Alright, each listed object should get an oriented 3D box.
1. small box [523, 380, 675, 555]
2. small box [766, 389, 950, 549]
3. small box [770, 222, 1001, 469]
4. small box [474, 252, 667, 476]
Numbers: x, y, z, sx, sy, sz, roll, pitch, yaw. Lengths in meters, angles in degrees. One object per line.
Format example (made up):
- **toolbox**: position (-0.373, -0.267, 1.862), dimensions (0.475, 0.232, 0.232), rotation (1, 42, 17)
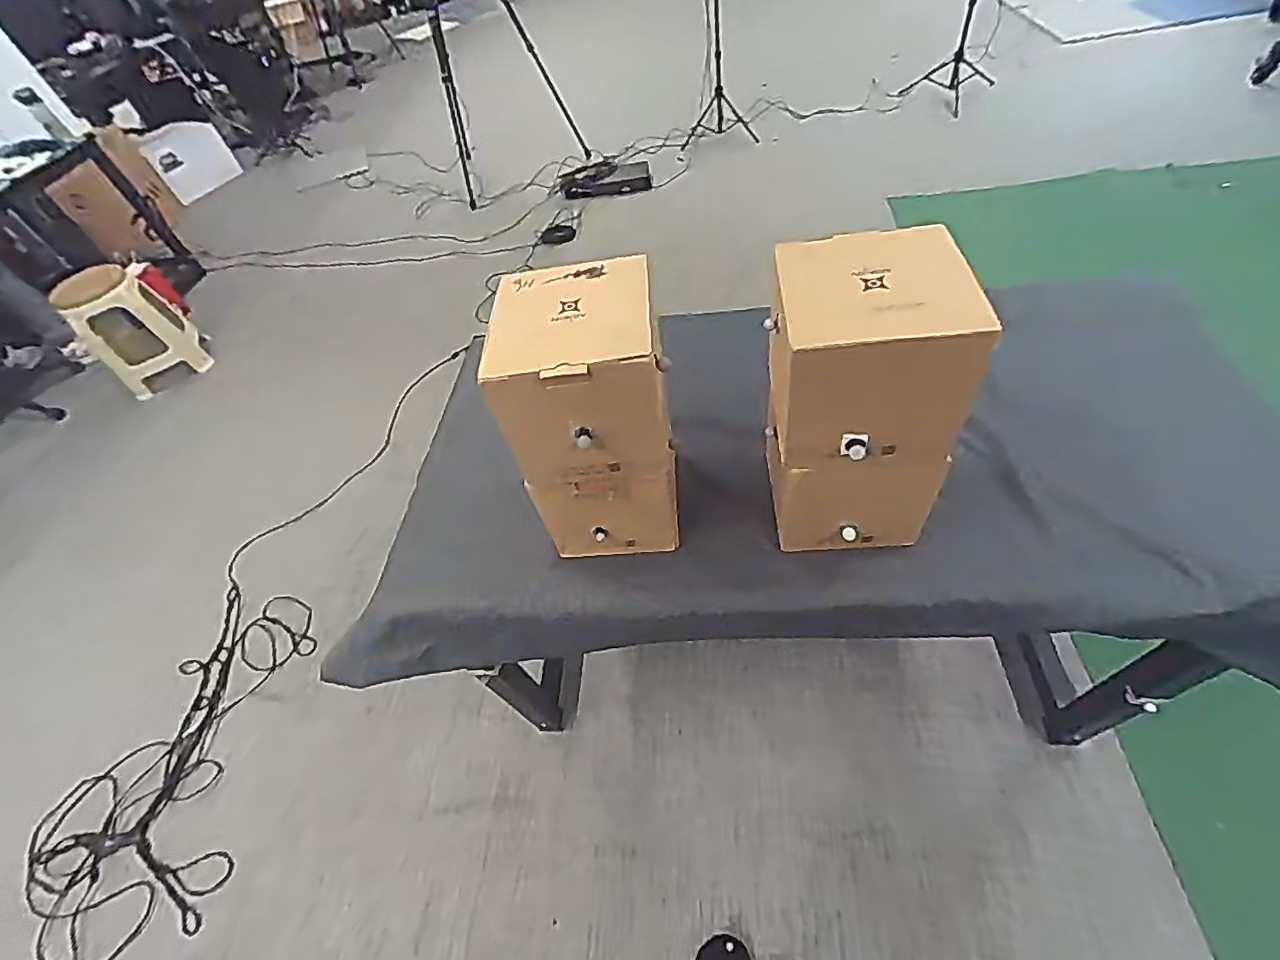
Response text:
- **small box**: position (-0.043, -0.019, 0.726), dimensions (0.168, 0.176, 0.179), rotation (-5, 52, 7)
- **small box**: position (0.252, -0.032, 0.677), dimensions (0.168, 0.176, 0.179), rotation (-4, 51, 8)
- **small box**: position (0.224, -0.132, 0.552), dimensions (0.168, 0.176, 0.179), rotation (-4, 52, 10)
- **small box**: position (-0.062, -0.117, 0.597), dimensions (0.168, 0.176, 0.179), rotation (-6, 53, 6)
